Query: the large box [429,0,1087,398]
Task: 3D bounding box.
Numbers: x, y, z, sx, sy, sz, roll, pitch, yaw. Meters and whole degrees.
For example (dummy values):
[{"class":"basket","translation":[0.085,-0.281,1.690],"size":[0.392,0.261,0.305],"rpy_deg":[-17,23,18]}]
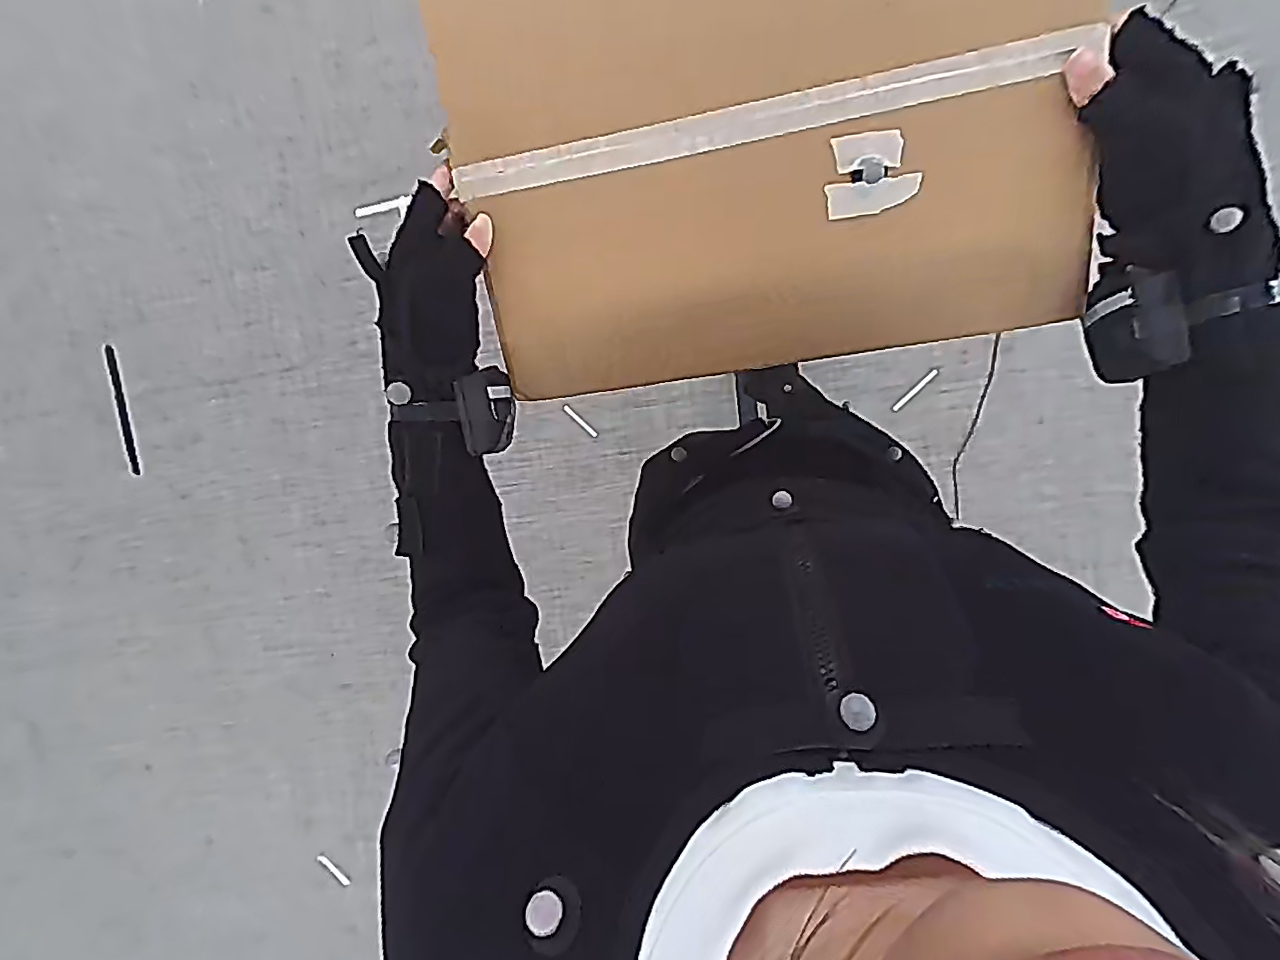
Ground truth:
[{"class":"large box","translation":[0.088,-0.284,0.501],"size":[0.408,0.320,0.320],"rpy_deg":[-8,109,7]}]
